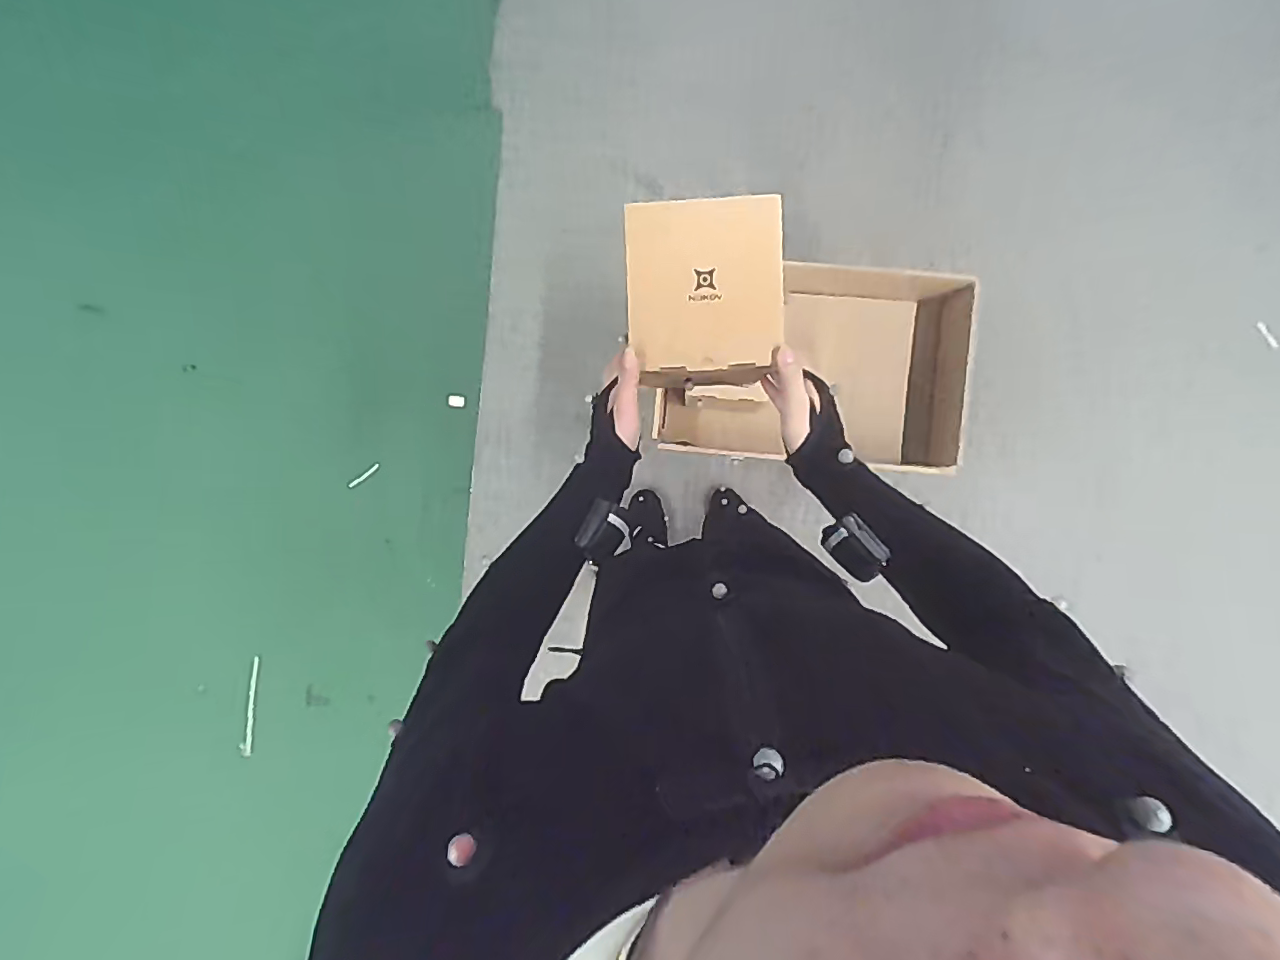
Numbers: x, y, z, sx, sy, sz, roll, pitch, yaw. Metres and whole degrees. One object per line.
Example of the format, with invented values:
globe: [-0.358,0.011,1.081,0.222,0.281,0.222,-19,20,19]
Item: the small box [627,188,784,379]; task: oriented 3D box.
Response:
small box: [0.068,-0.219,0.643,0.168,0.176,0.179,-2,96,1]
